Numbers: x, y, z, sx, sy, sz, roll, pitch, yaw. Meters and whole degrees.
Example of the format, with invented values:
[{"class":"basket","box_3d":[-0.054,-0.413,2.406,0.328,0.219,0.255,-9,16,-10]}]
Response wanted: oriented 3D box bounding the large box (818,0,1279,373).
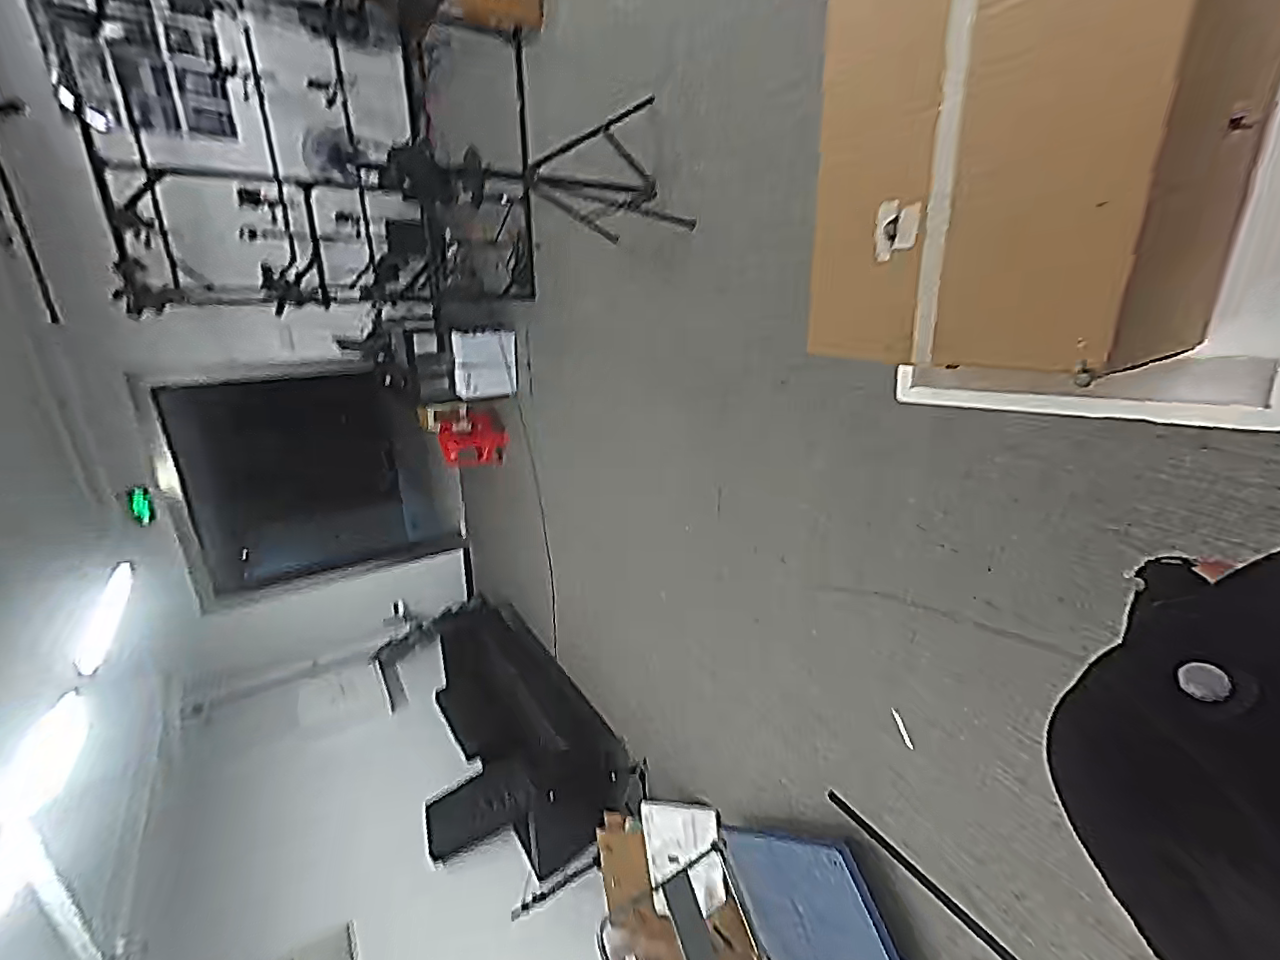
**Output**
[{"class":"large box","box_3d":[0.420,-0.345,0.581,0.320,0.320,0.408,24,123,54]}]
